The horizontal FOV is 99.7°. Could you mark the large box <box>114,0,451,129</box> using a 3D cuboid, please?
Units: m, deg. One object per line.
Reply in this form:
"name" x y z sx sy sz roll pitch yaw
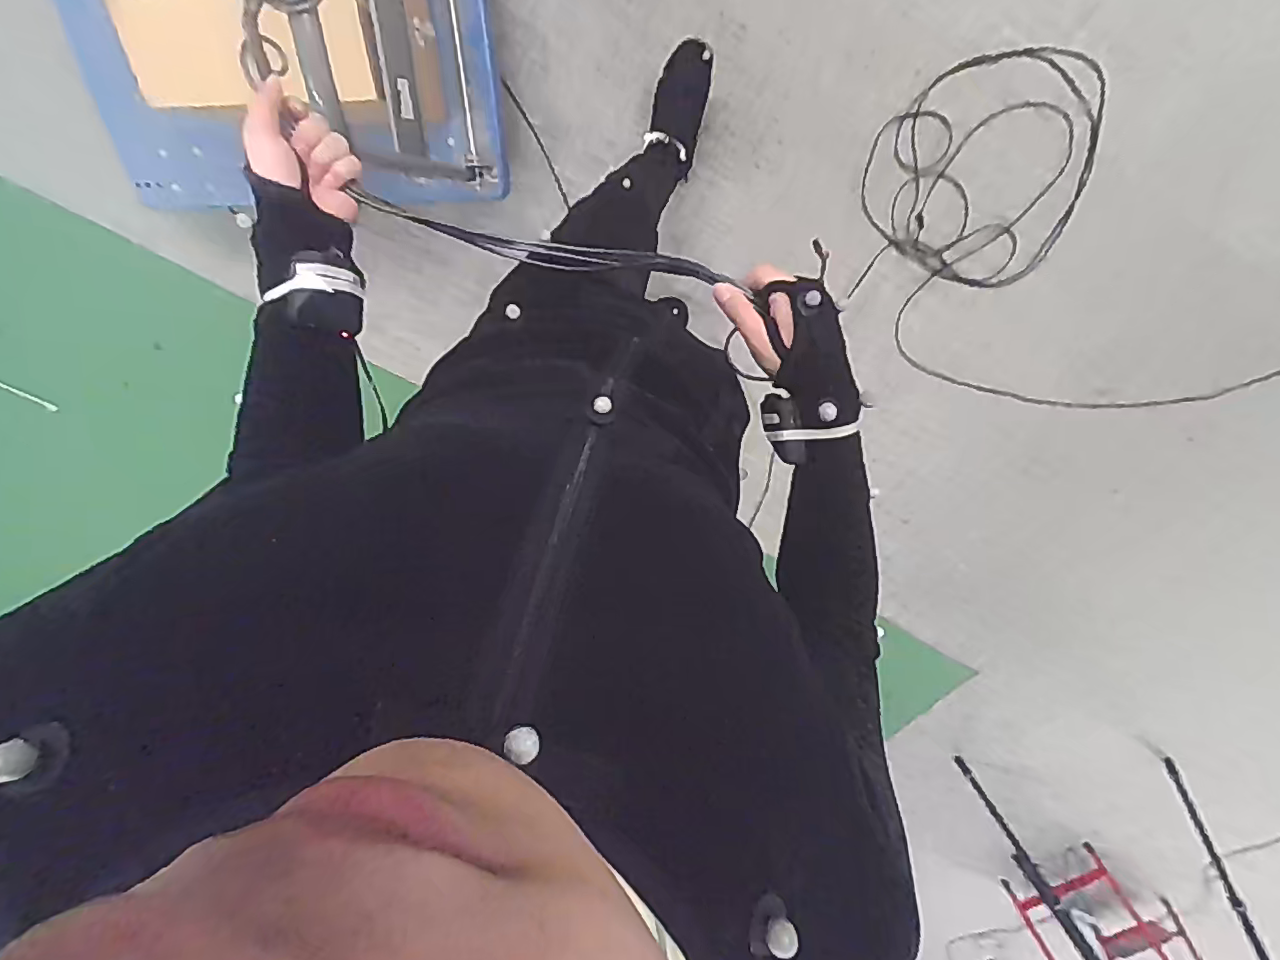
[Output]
"large box" -0.608 -0.820 0.954 0.408 0.320 0.320 1 117 4
